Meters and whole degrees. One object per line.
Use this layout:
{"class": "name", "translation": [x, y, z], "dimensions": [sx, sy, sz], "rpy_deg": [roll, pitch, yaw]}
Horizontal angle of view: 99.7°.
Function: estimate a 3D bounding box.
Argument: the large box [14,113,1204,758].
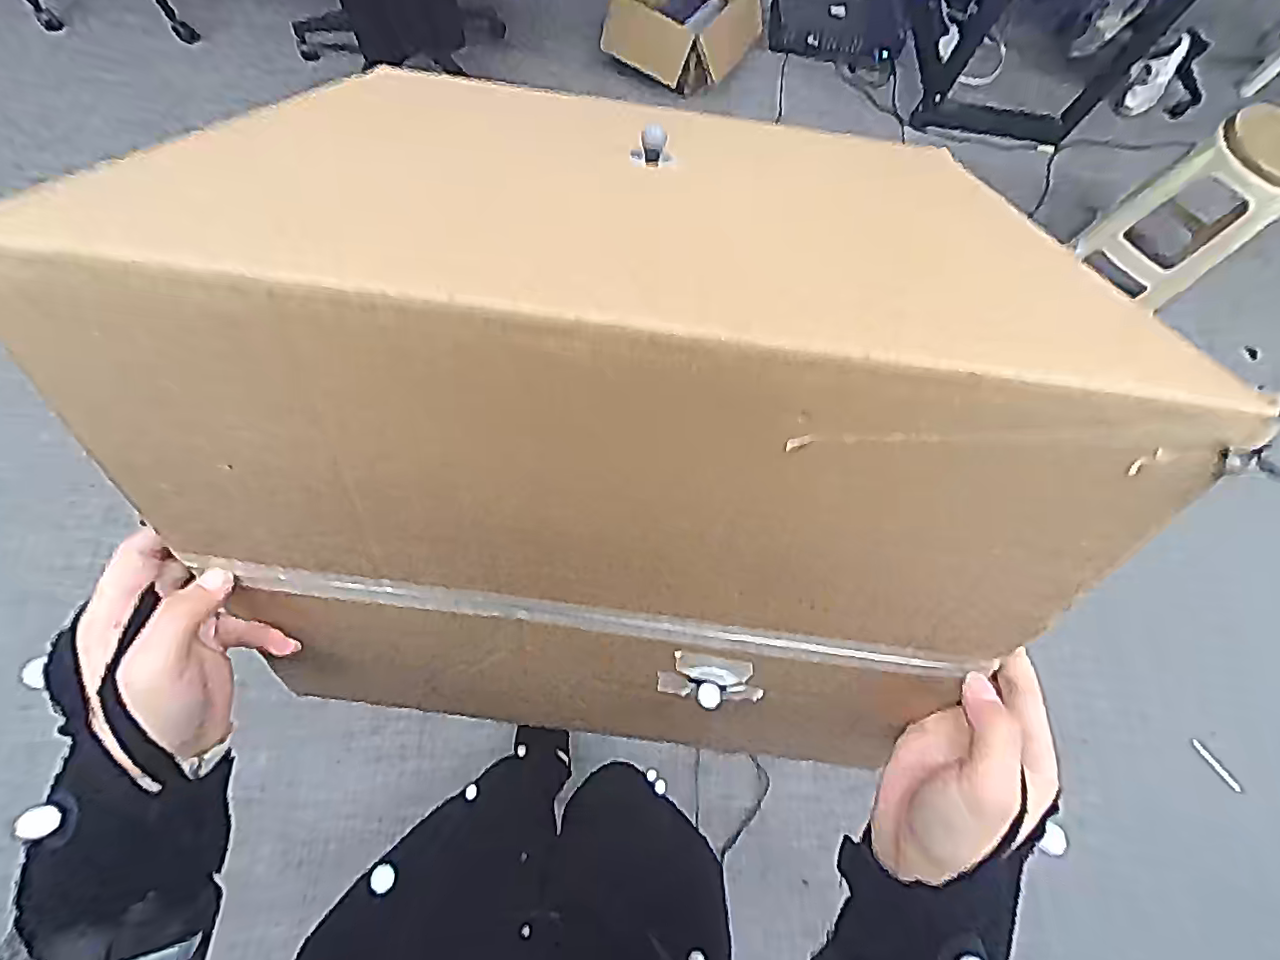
{"class": "large box", "translation": [-0.014, -0.037, 0.386], "dimensions": [0.408, 0.320, 0.320], "rpy_deg": [7, 45, -1]}
